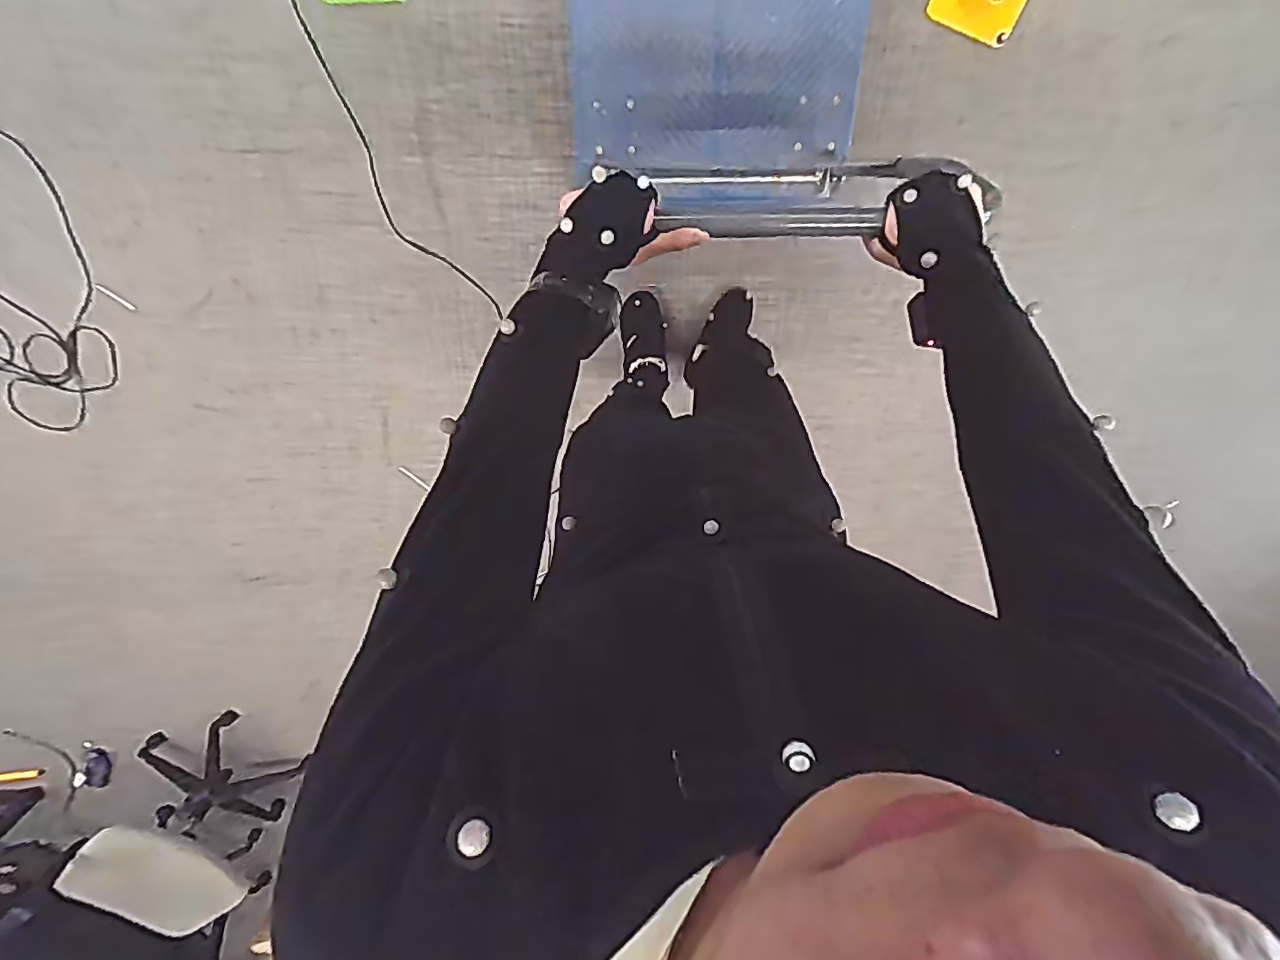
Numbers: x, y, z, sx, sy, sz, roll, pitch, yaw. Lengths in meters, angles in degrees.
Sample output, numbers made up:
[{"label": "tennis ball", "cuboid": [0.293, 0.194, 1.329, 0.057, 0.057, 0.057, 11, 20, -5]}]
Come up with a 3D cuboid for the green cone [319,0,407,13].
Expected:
[{"label": "green cone", "cuboid": [-0.588, -1.011, 0.949, 0.202, 0.368, 0.200, -3, 116, 3]}]
